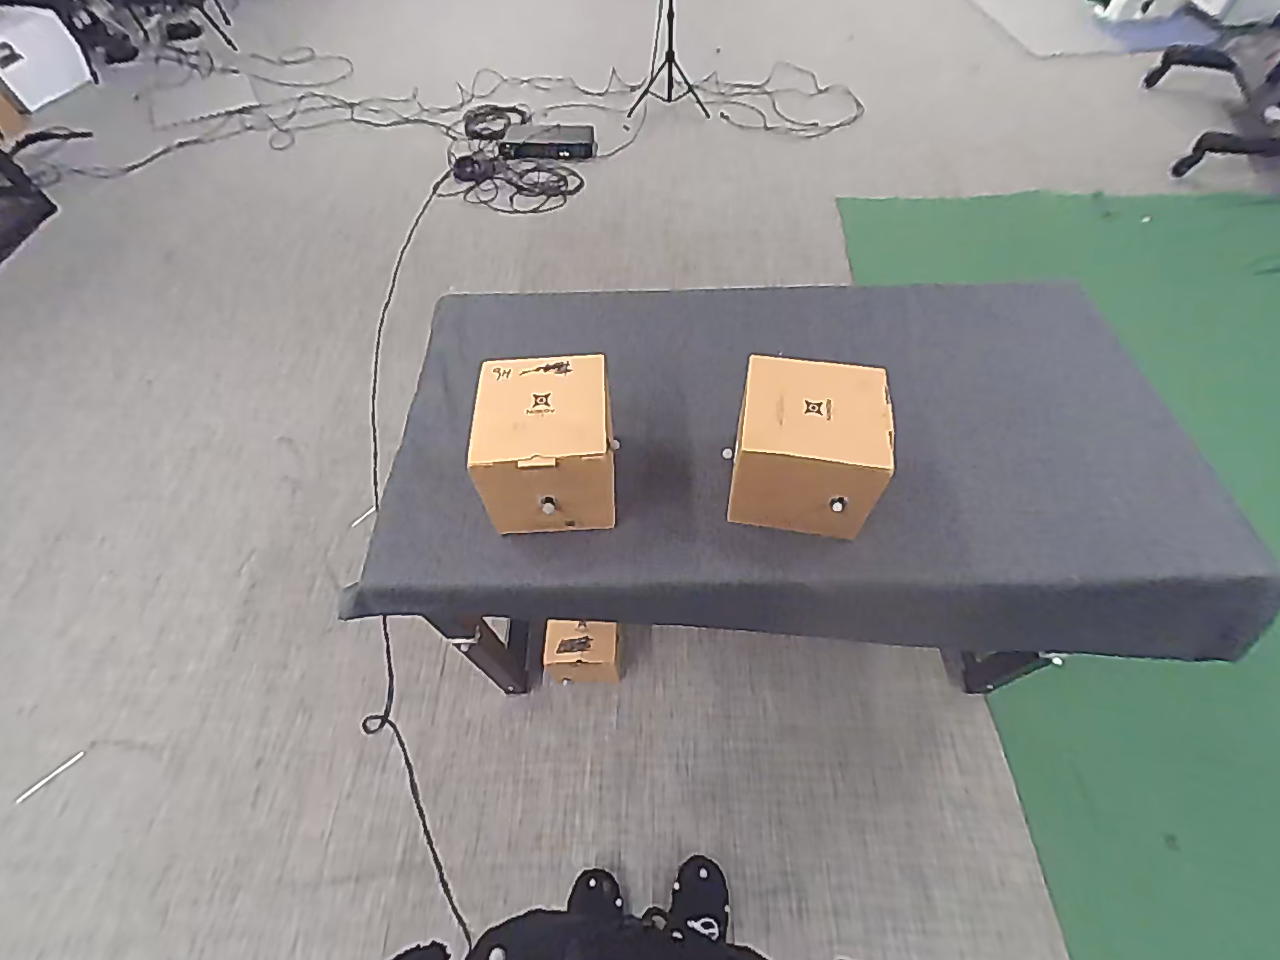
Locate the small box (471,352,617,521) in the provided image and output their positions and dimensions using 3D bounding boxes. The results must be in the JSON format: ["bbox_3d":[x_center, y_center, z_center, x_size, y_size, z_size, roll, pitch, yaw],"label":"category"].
[{"bbox_3d":[-0.119,-0.052,0.748,0.168,0.176,0.179,-2,57,-1],"label":"small box"}]

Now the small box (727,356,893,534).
[{"bbox_3d":[0.221,-0.042,0.734,0.179,0.176,0.168,8,56,8],"label":"small box"}]
